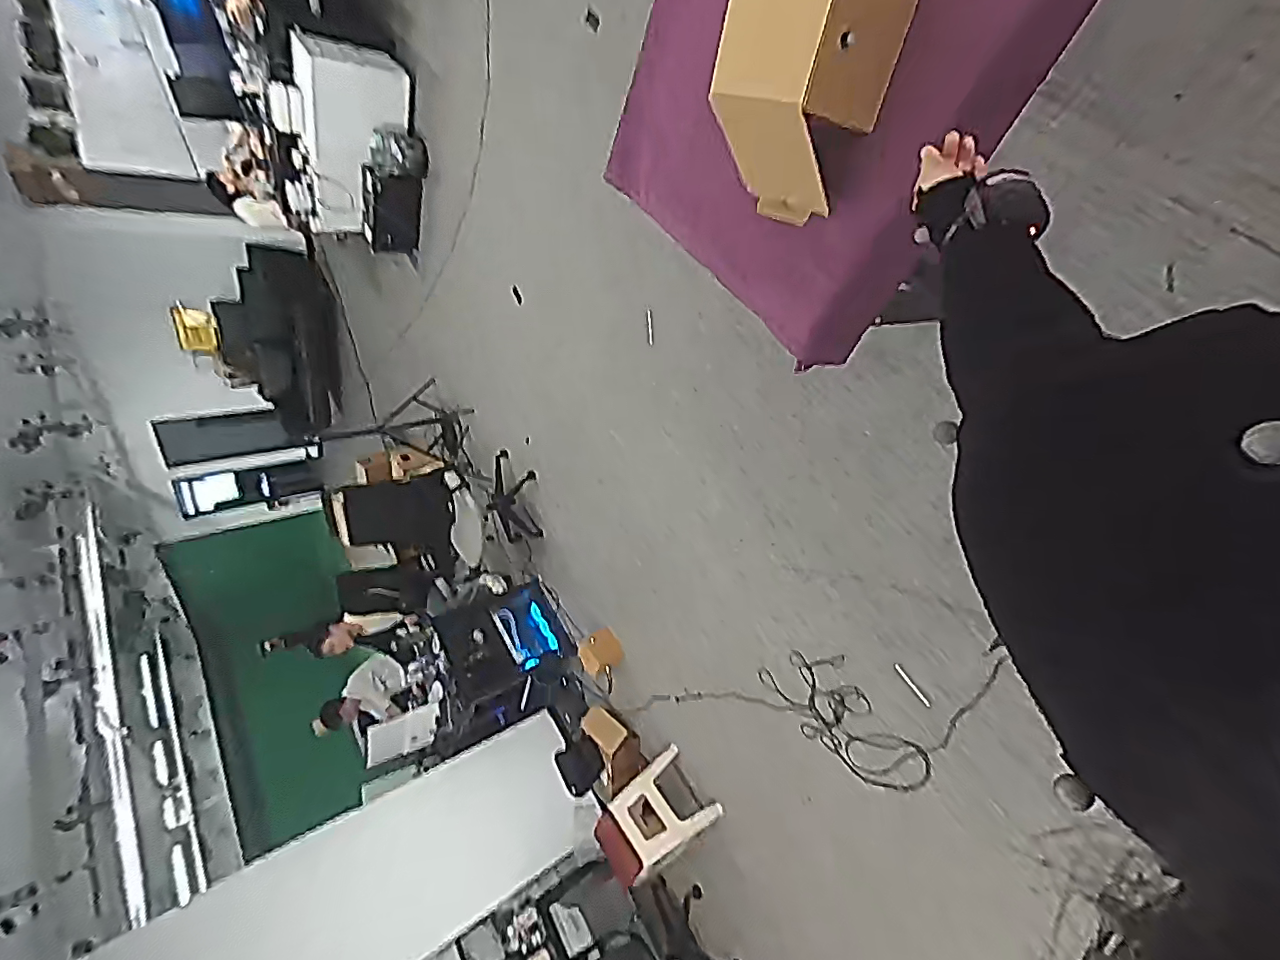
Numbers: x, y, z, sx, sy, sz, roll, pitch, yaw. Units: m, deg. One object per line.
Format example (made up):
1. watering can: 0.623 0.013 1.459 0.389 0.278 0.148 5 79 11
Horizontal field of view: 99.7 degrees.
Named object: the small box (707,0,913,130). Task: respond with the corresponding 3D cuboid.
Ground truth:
1. small box: 0.218 -0.572 0.695 0.168 0.176 0.179 40 131 36
